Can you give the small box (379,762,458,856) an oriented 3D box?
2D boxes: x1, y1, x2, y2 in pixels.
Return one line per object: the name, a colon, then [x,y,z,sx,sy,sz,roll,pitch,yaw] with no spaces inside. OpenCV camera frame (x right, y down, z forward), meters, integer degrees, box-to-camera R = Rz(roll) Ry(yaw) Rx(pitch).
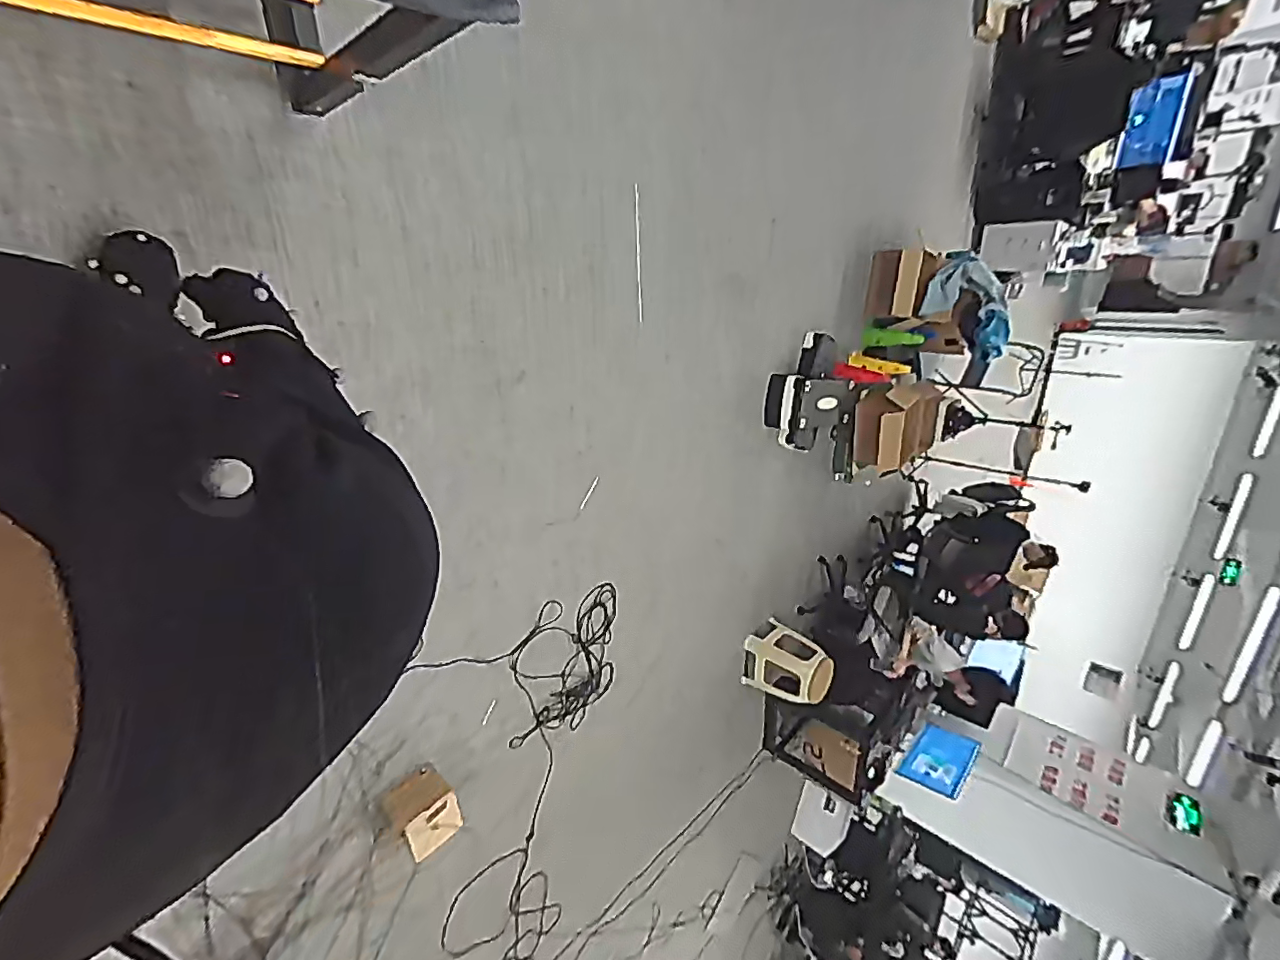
small box: [-0.724,1.058,1.763,0.168,0.176,0.179,-25,122,-42]
